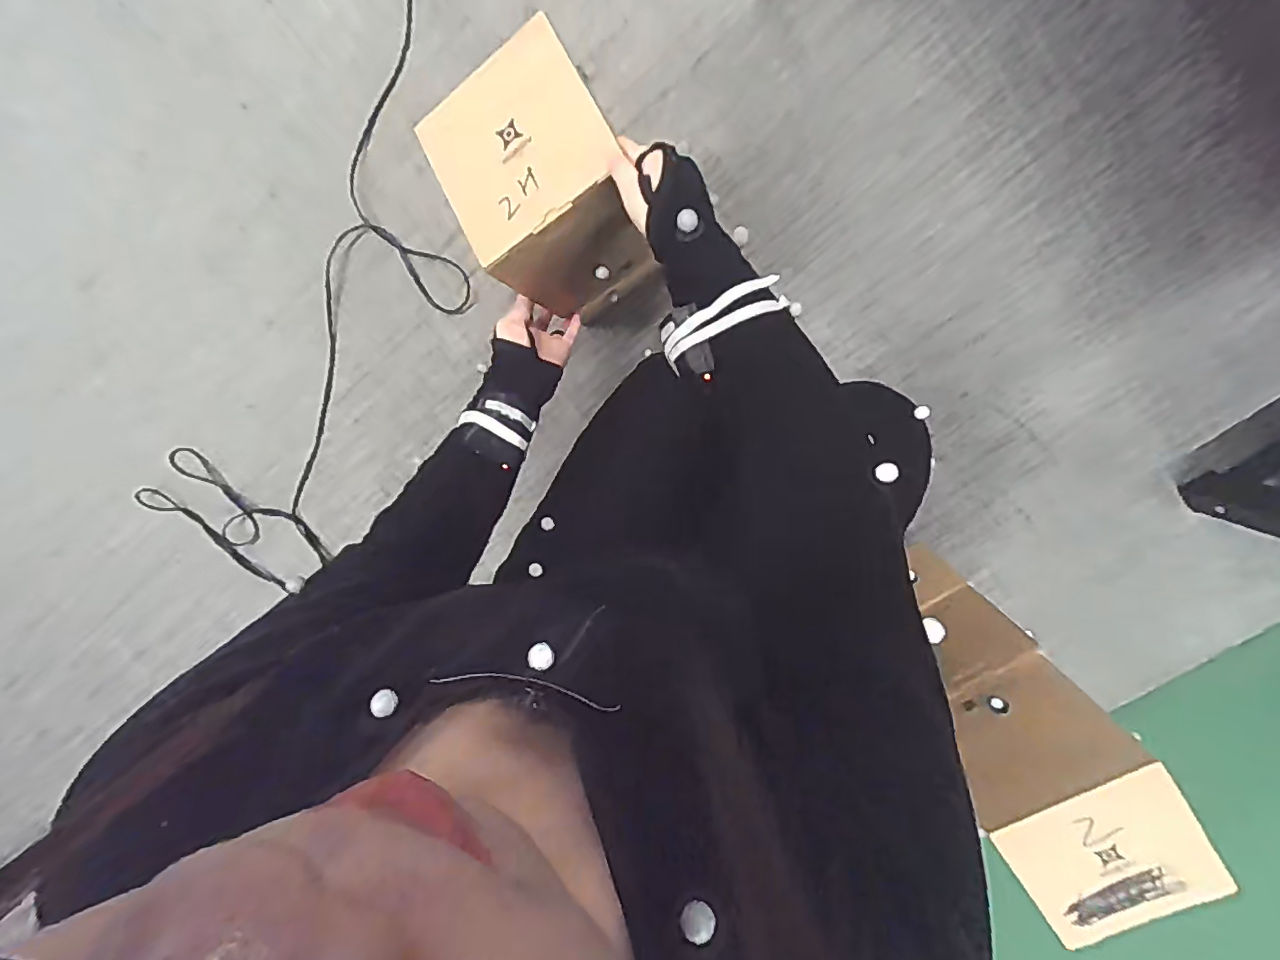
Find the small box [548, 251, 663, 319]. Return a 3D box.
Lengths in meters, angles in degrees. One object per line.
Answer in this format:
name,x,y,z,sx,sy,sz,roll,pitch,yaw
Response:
small box,-0.077,-0.350,0.789,0.179,0.176,0.168,-34,101,10

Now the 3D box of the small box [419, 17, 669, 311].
small box,-0.091,-0.314,0.581,0.168,0.176,0.179,-29,82,17

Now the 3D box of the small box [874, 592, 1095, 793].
small box,0.463,0.281,0.759,0.168,0.176,0.179,-35,101,12
